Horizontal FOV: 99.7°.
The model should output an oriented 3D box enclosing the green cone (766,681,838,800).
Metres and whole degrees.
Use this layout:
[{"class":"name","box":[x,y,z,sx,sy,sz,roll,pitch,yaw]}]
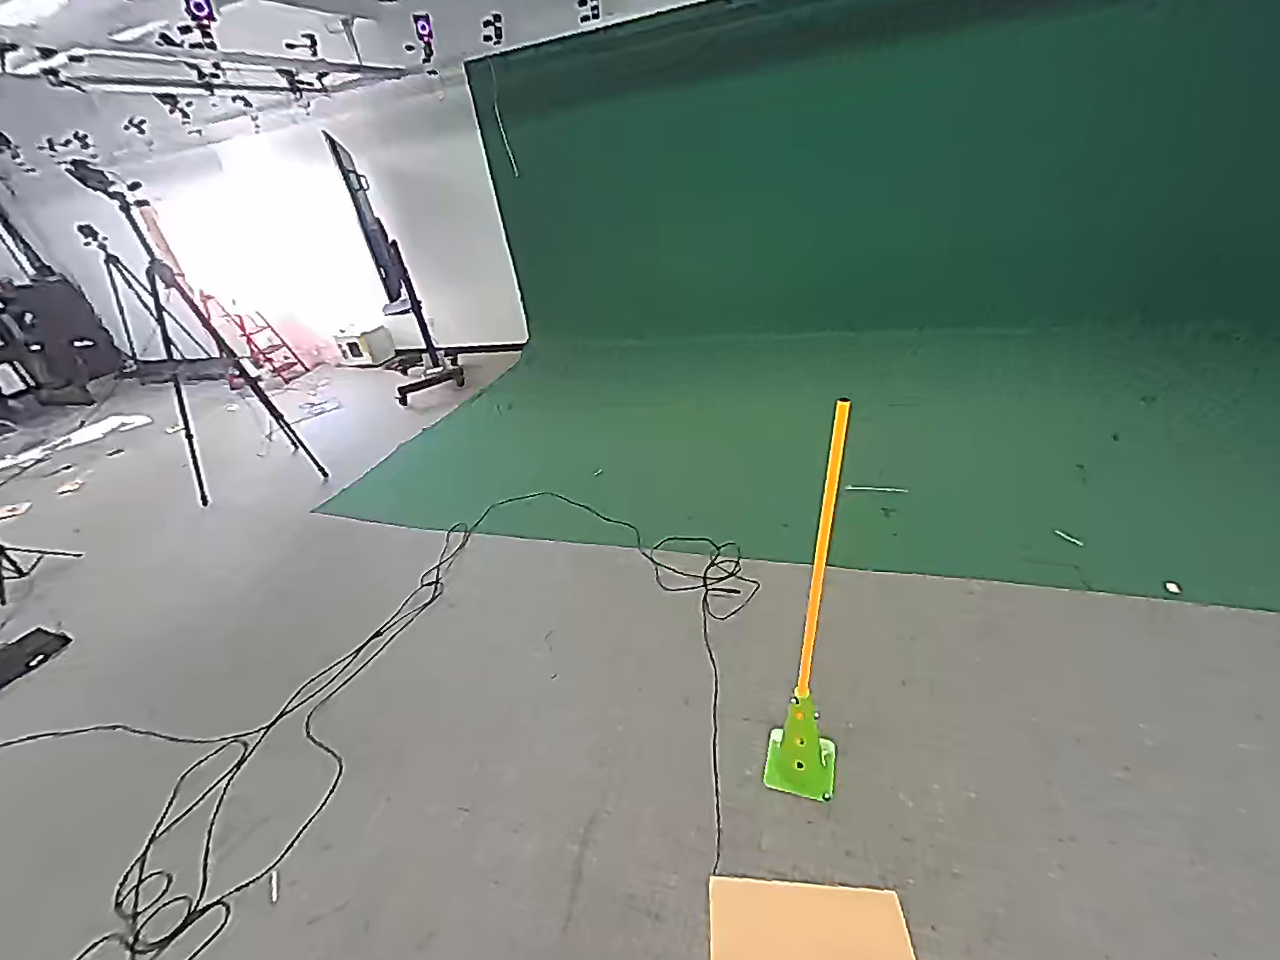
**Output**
[{"class":"green cone","box":[0.472,0.720,1.574,0.202,0.368,0.200,2,32,21]}]
